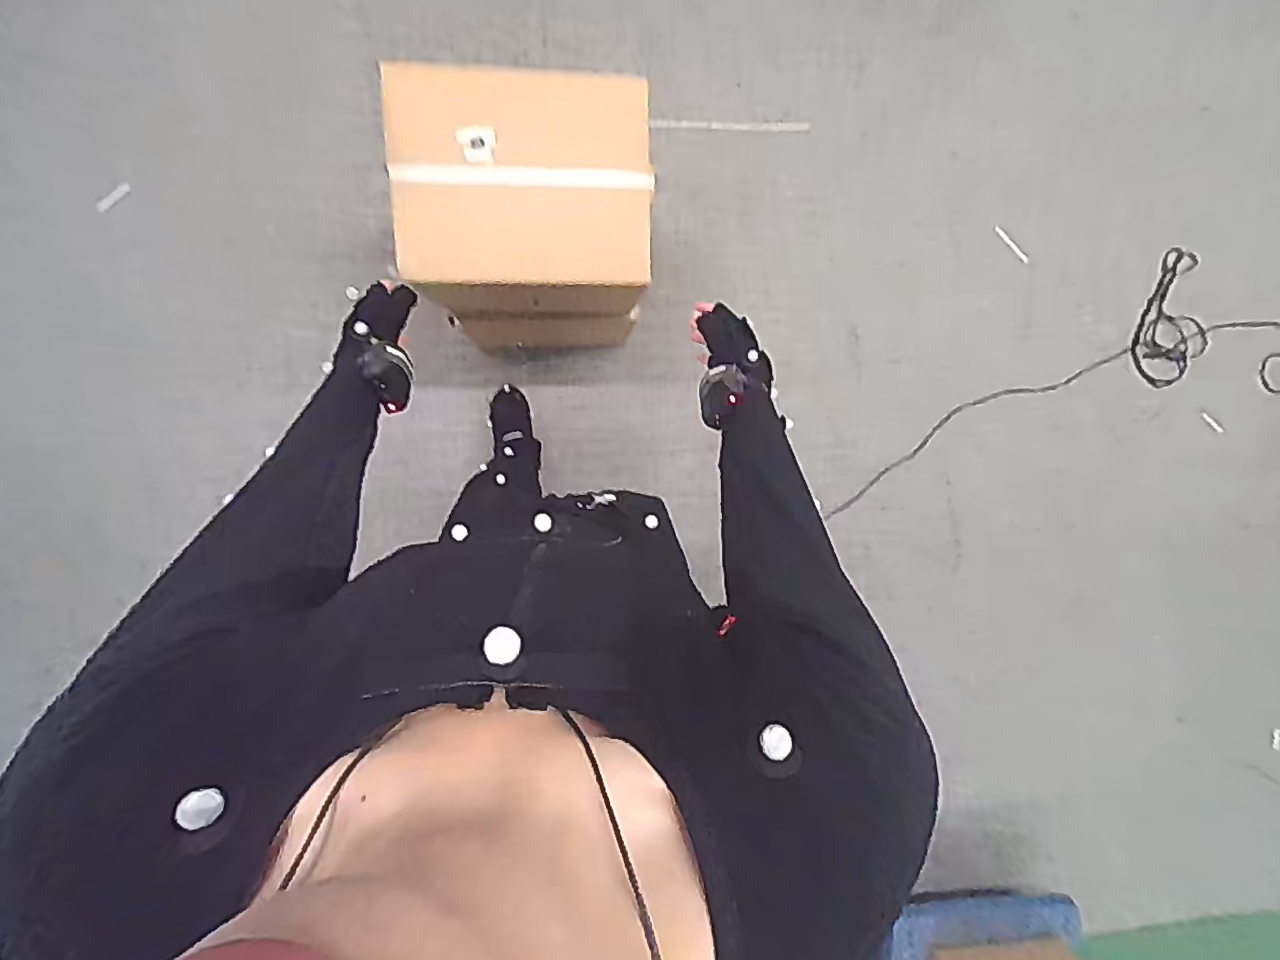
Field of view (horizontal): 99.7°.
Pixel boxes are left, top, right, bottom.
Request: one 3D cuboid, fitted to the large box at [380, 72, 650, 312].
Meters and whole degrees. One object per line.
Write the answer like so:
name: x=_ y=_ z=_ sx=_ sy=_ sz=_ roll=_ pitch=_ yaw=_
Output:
large box: x=-0.198 y=-0.486 z=0.986 sx=0.408 sy=0.320 sz=0.320 roll=-2 pitch=98 yaw=-5
